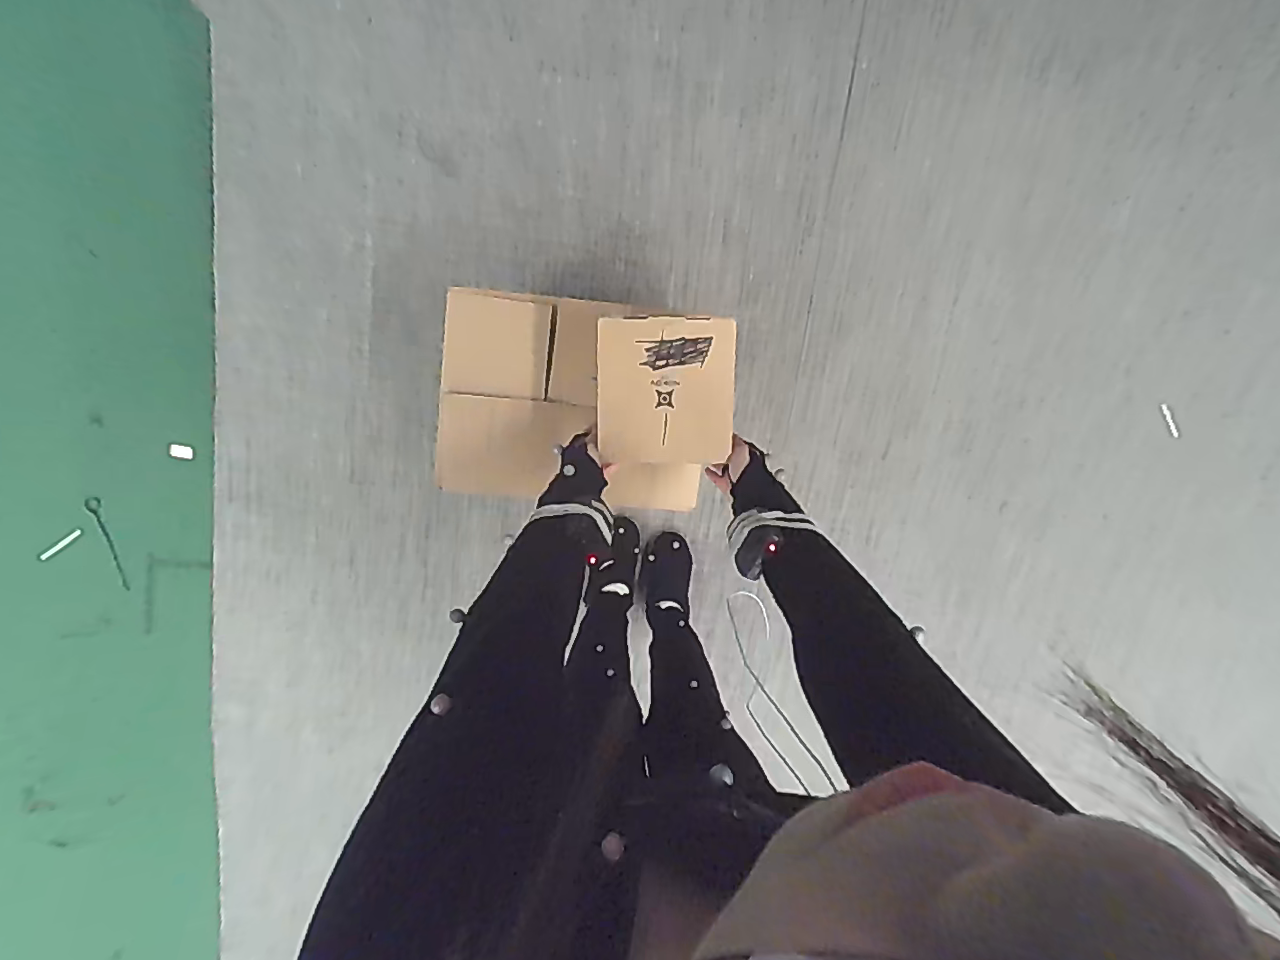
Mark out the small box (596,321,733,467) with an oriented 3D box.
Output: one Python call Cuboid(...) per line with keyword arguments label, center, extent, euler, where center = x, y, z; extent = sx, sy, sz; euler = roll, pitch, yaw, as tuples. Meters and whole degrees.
Cuboid(label="small box", center=(0.029, -0.114, 0.735), extent=(0.168, 0.176, 0.179), euler=(1, 99, 1))
